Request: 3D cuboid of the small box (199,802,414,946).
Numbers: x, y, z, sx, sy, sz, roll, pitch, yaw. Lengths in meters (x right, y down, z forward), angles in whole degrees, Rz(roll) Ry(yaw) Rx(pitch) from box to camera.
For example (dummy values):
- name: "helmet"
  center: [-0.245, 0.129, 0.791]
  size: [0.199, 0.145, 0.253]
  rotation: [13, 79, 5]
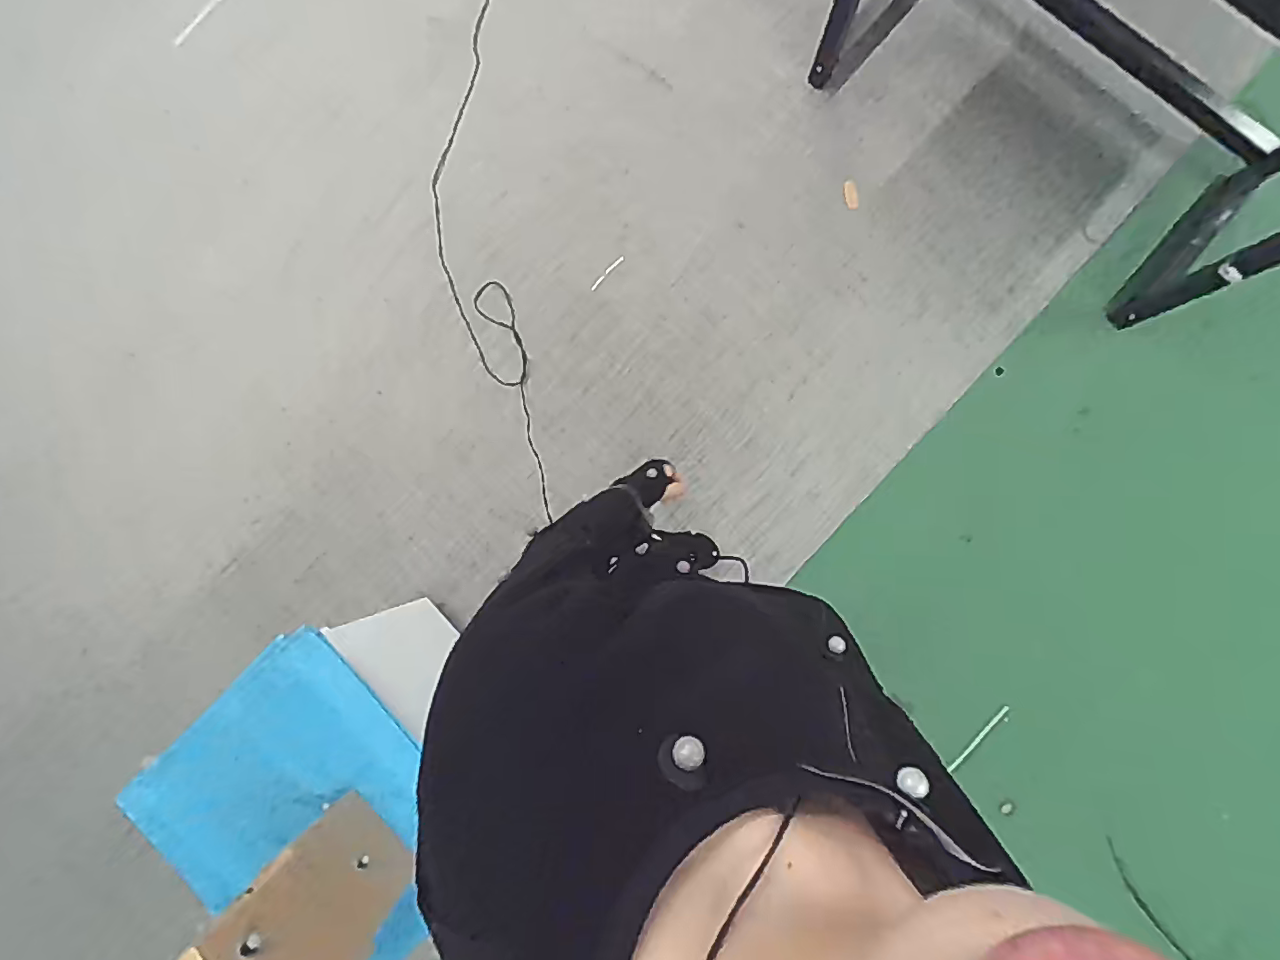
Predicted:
- name: "small box"
  center: [-0.485, 0.628, 0.814]
  size: [0.179, 0.176, 0.168]
  rotation: [45, 89, 3]

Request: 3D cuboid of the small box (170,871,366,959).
- name: "small box"
  center: [-0.481, 0.623, 0.649]
  size: [0.179, 0.176, 0.168]
  rotation: [45, 89, 4]
